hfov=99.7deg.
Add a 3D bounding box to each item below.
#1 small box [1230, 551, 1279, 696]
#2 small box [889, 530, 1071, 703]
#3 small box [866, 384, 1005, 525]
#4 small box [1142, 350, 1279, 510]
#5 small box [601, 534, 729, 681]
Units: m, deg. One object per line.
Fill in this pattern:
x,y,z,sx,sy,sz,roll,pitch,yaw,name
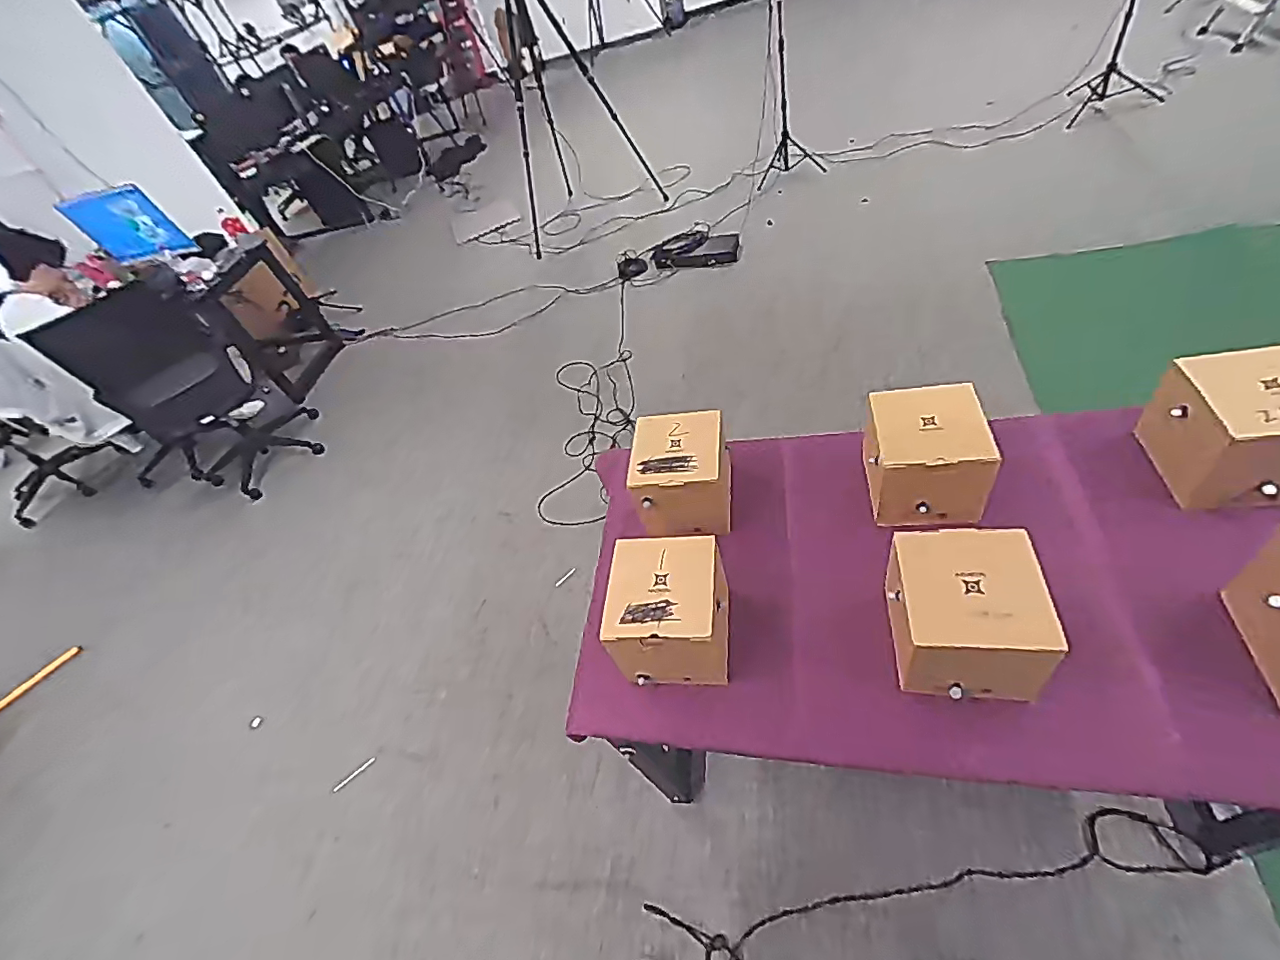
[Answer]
0.861,0.172,0.627,0.168,0.176,0.179,-1,48,19,small box
0.450,0.187,0.752,0.168,0.176,0.179,-2,49,17,small box
0.496,-0.041,0.938,0.168,0.176,0.179,-3,51,15,small box
0.921,-0.074,0.819,0.168,0.176,0.179,-5,50,18,small box
0.051,0.206,0.862,0.168,0.176,0.179,-4,48,14,small box
